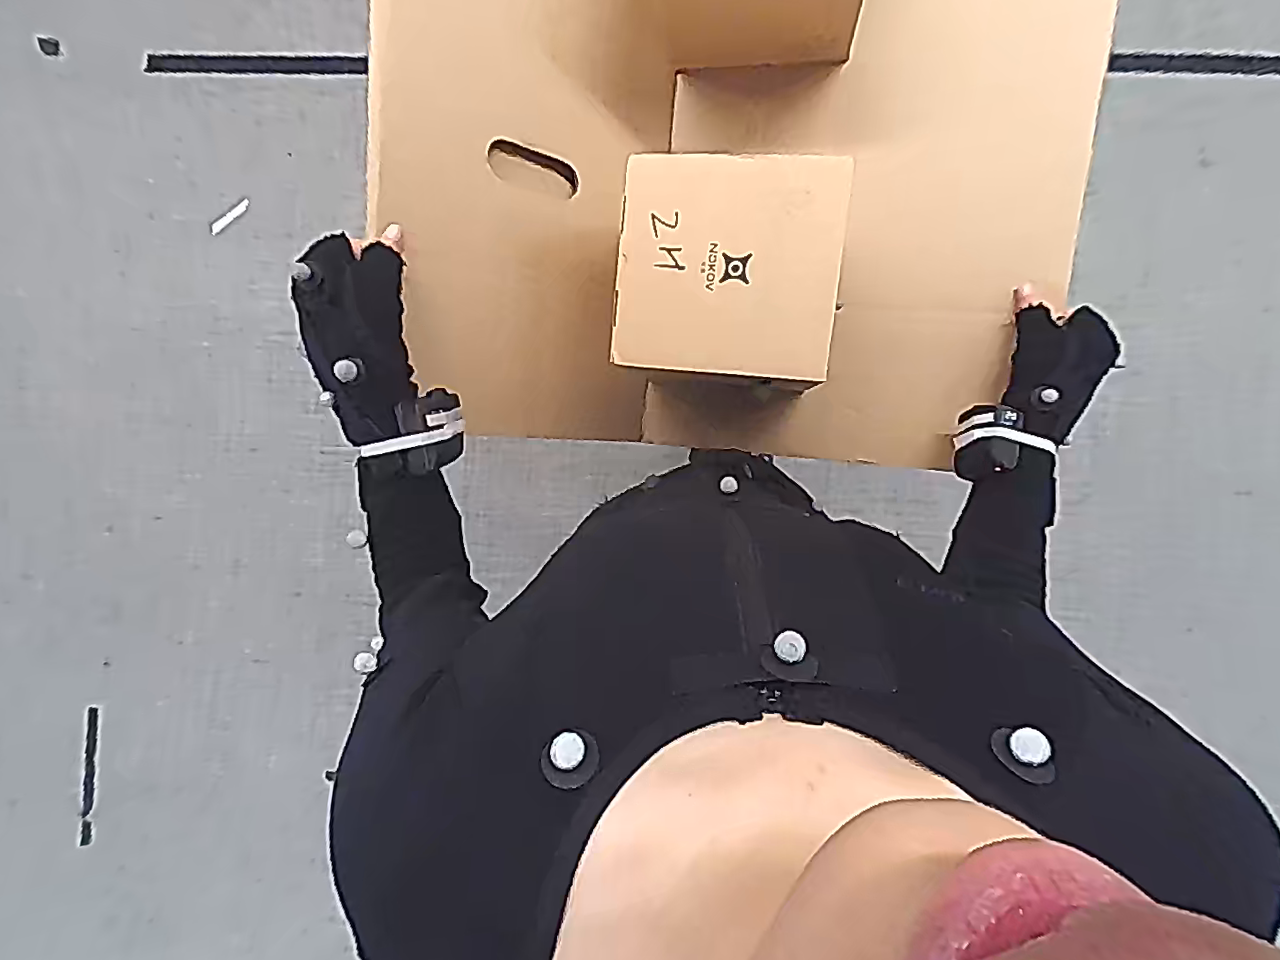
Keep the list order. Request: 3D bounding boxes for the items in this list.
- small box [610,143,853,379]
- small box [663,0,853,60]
[{"bbox_3d":[0.083,-0.189,0.509,0.179,0.176,0.168,8,98,11],"label":"small box"},{"bbox_3d":[0.108,-0.505,0.469,0.179,0.176,0.168,5,98,11],"label":"small box"}]
